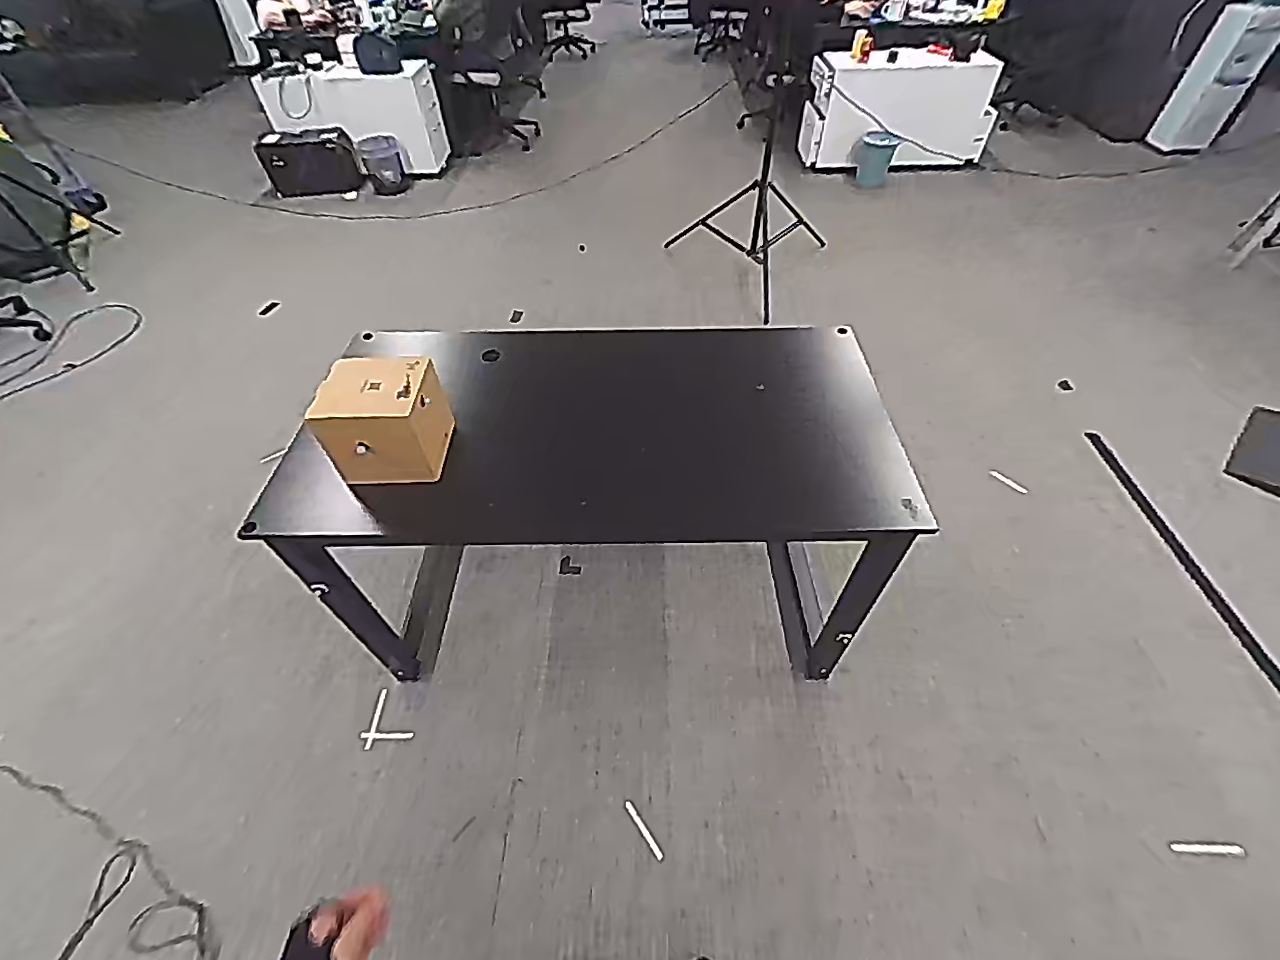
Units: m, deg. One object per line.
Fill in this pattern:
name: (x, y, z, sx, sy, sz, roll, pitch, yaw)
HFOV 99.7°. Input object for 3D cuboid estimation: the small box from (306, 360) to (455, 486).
small box: (-0.467, -0.102, 1.003, 0.179, 0.176, 0.168, -2, 49, 0)
